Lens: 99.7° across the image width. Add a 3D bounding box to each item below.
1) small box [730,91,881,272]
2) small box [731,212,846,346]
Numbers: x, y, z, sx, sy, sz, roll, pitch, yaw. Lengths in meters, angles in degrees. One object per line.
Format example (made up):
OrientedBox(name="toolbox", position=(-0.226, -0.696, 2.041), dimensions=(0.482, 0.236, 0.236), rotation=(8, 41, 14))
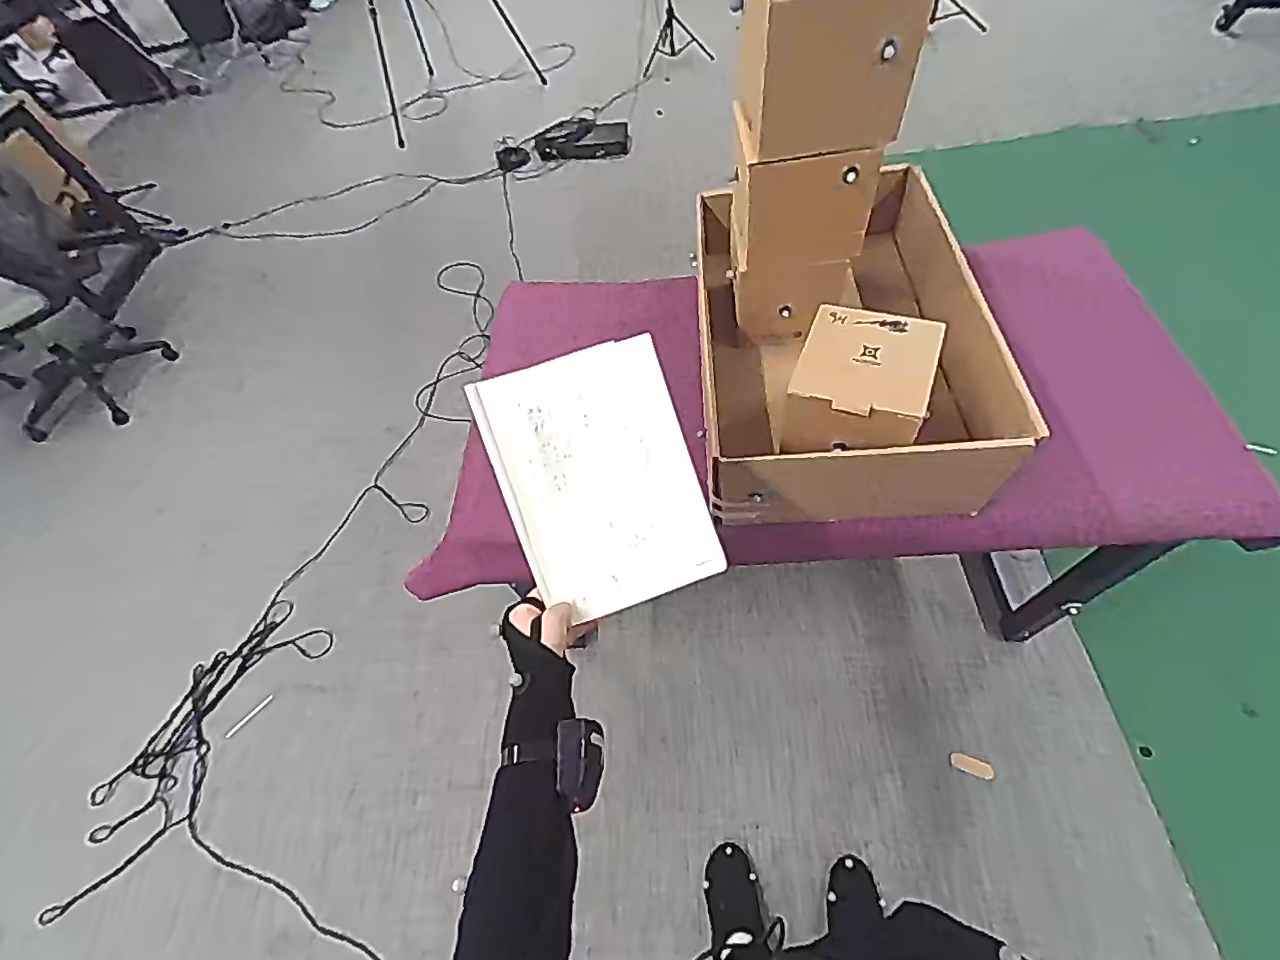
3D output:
OrientedBox(name="small box", position=(0.229, -0.429, 0.796), dimensions=(0.179, 0.176, 0.168), rotation=(-5, 58, 6))
OrientedBox(name="small box", position=(0.245, -0.347, 0.935), dimensions=(0.168, 0.176, 0.179), rotation=(-3, 59, 7))
